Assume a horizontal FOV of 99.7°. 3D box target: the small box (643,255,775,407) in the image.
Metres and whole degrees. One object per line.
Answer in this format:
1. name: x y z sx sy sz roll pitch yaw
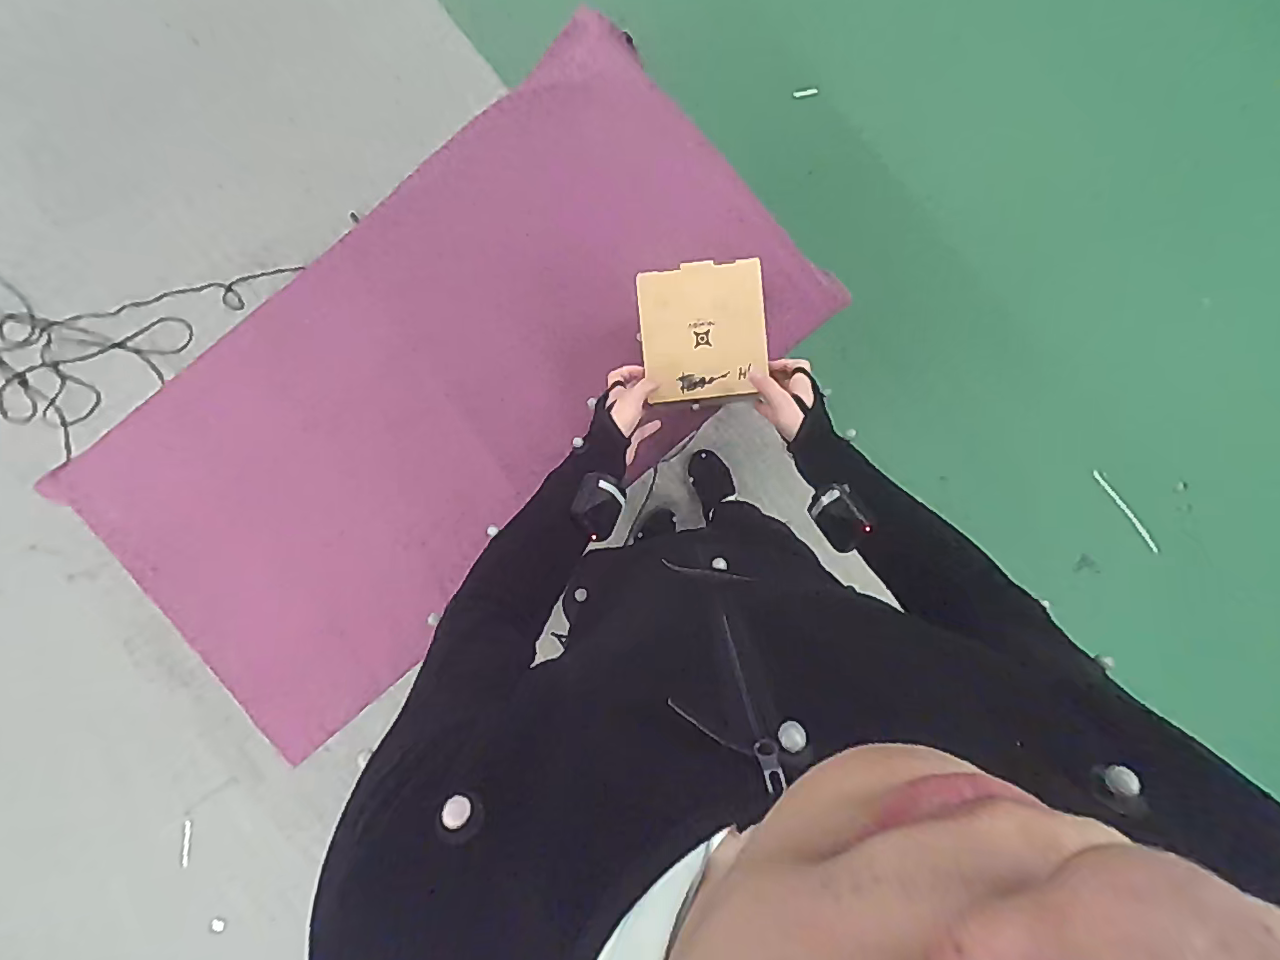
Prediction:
1. small box: 0.099 -0.203 0.786 0.168 0.176 0.179 -5 95 8
